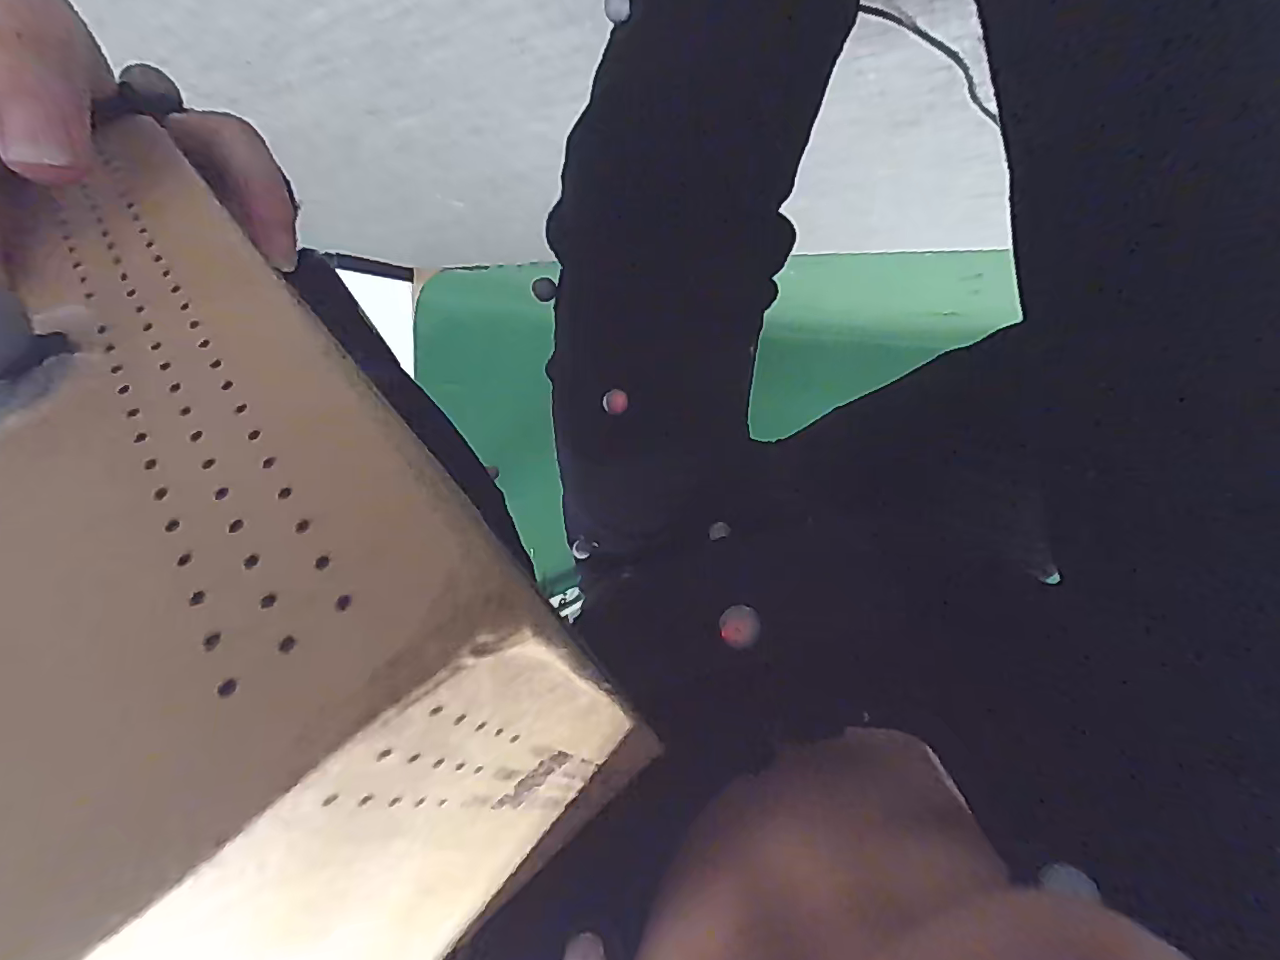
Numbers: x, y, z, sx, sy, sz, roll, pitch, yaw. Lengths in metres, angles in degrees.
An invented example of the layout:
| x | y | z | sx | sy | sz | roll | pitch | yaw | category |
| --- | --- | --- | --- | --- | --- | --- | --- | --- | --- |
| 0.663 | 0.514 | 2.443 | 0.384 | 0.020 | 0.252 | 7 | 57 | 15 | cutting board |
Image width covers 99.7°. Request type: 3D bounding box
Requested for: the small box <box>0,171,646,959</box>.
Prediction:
| x | y | z | sx | sy | sz | roll | pitch | yaw | category |
| --- | --- | --- | --- | --- | --- | --- | --- | --- | --- |
| -0.121 | 0.047 | 0.153 | 0.176 | 0.168 | 0.179 | -39 | -119 | -14 | small box |
